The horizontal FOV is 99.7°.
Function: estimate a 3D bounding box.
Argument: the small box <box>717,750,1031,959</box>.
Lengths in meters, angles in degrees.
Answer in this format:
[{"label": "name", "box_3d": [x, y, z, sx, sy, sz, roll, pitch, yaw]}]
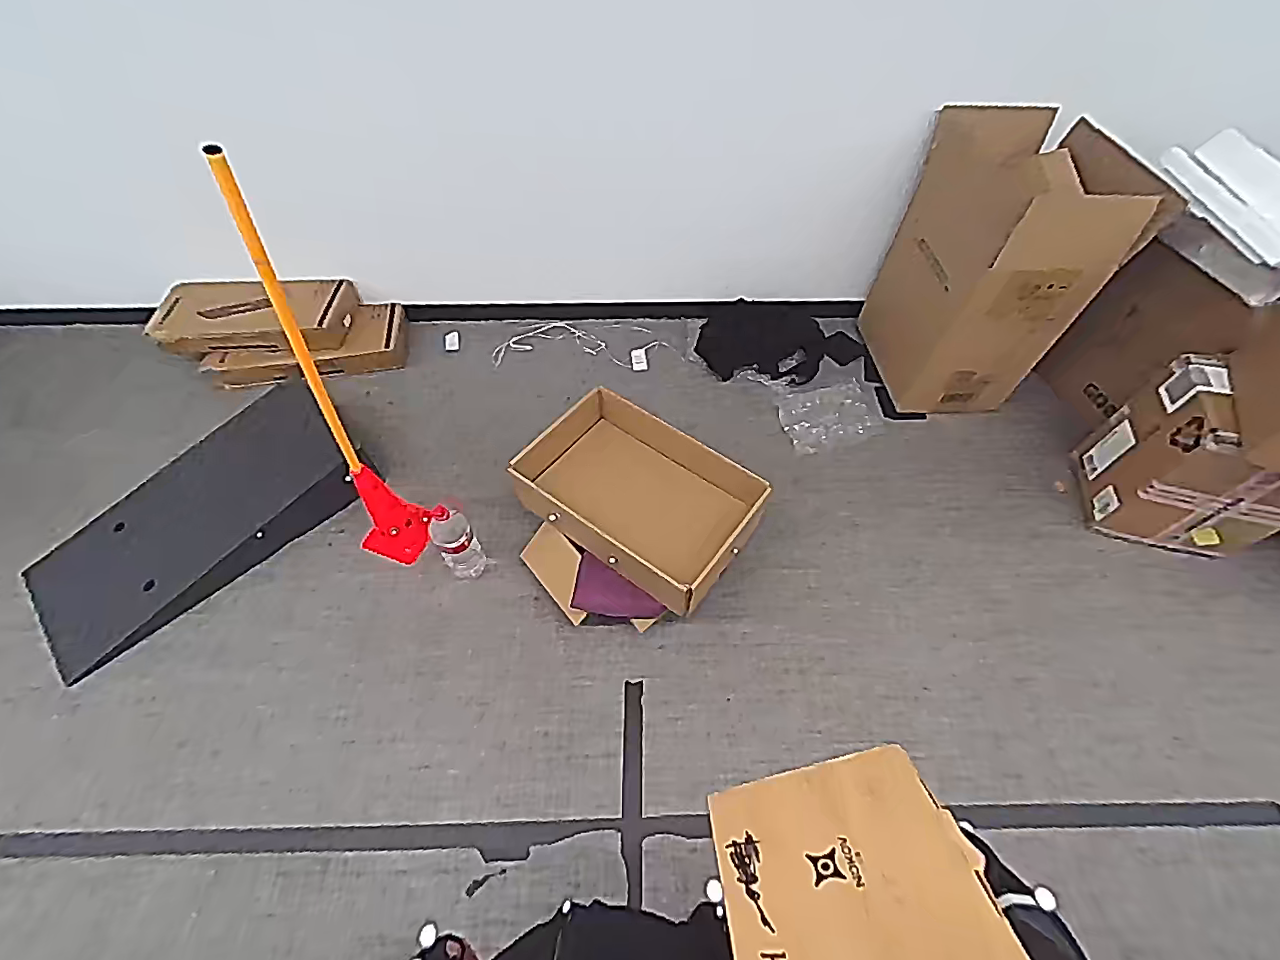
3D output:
[{"label": "small box", "box_3d": [0.175, 0.359, 0.430, 0.179, 0.176, 0.168, -17, 19, 4]}]
